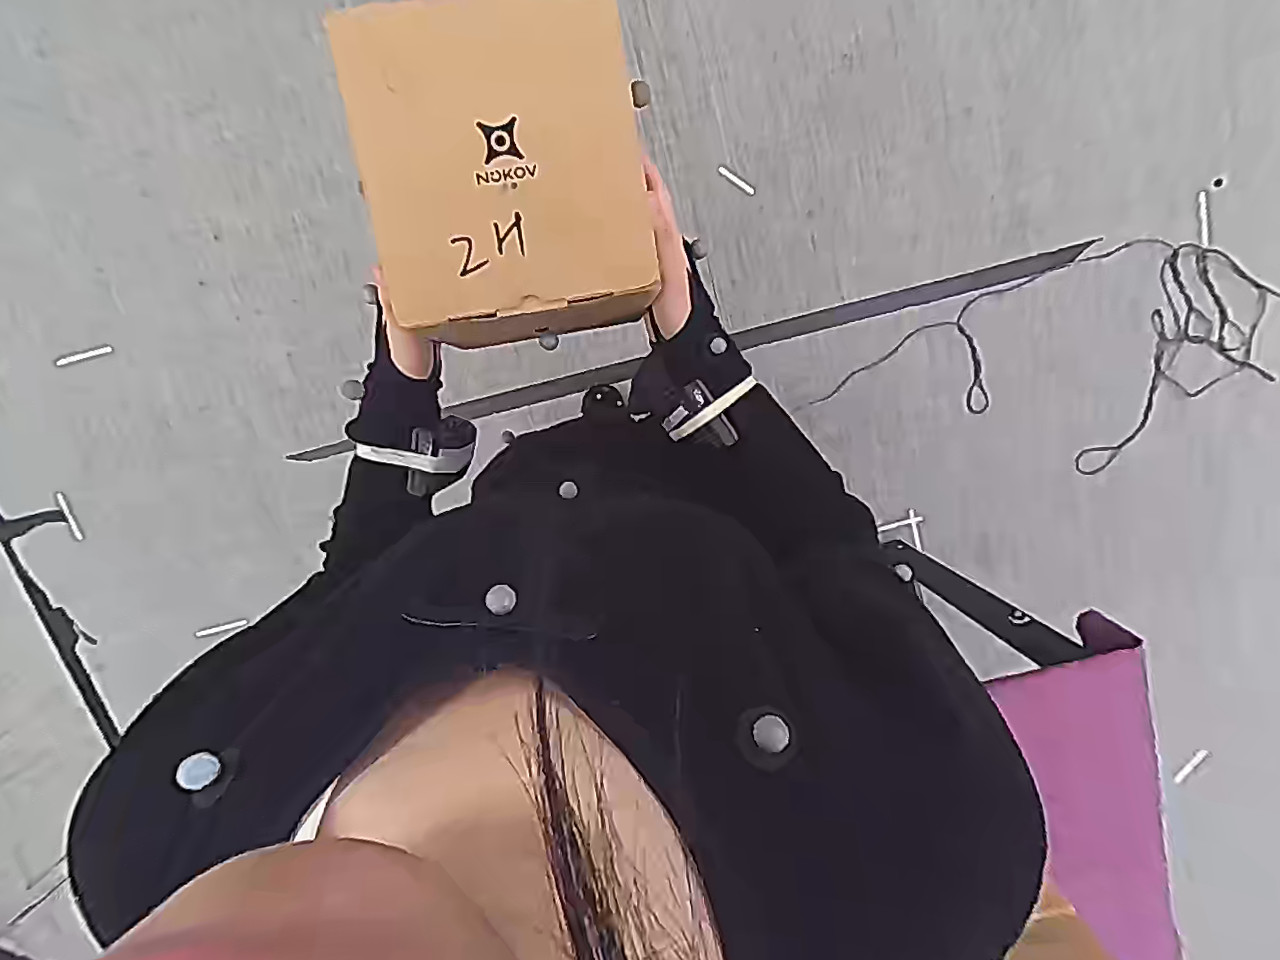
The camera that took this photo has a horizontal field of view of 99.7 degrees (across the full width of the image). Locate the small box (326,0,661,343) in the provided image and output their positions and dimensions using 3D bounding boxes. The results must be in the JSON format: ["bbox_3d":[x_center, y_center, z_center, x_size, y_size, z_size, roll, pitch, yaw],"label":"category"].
[{"bbox_3d":[-0.087,-0.206,0.393,0.168,0.176,0.179,-10,101,-3],"label":"small box"}]

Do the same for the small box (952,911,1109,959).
[{"bbox_3d":[0.503,0.668,0.637,0.168,0.176,0.179,-15,101,1],"label":"small box"}]
